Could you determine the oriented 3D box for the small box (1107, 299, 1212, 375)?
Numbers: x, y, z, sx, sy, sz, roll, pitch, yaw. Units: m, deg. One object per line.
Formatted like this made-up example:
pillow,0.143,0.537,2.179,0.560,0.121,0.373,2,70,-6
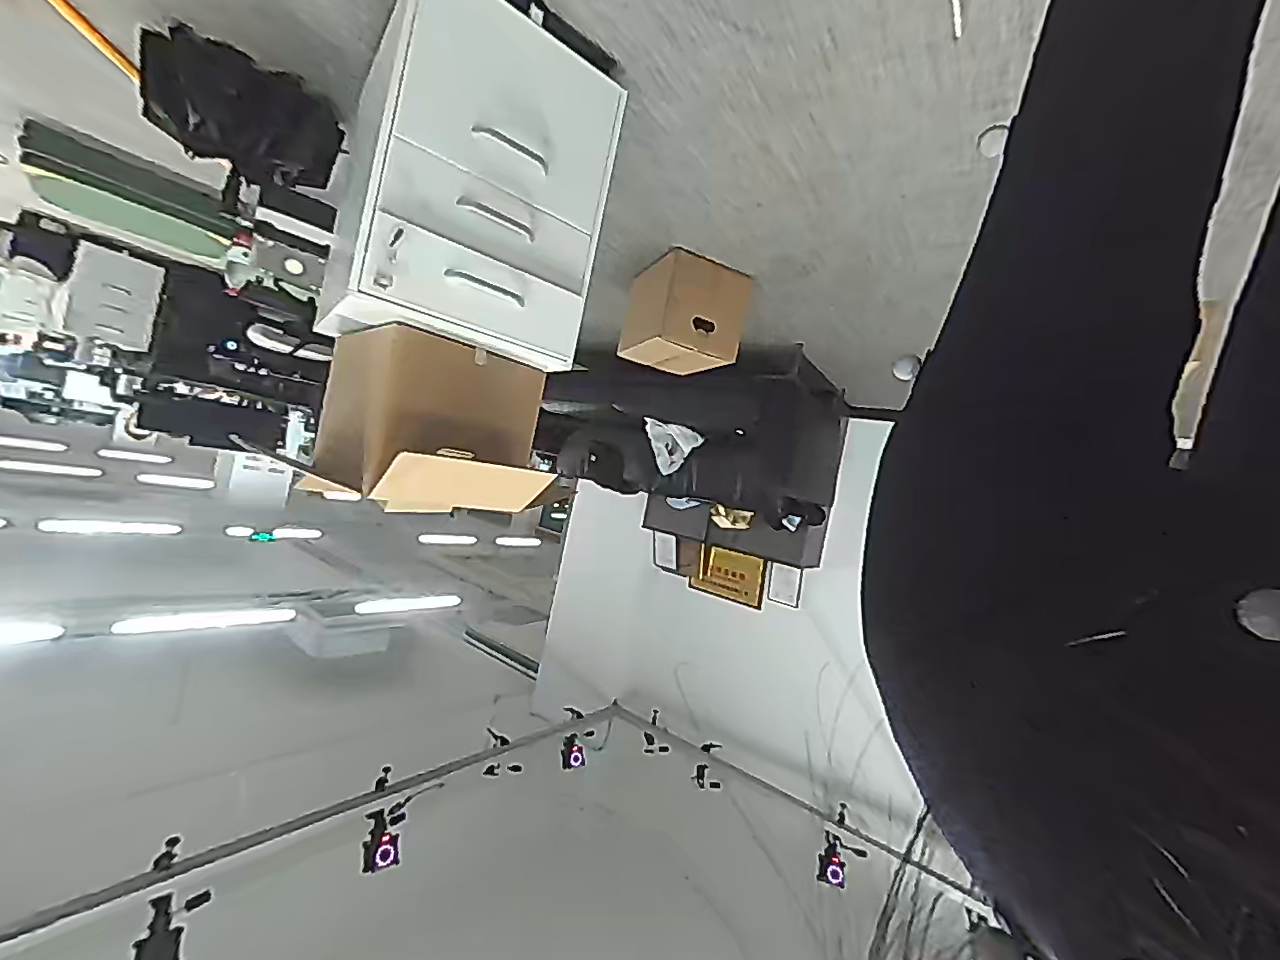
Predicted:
small box,1.496,-0.413,1.565,0.179,0.176,0.168,11,179,34
